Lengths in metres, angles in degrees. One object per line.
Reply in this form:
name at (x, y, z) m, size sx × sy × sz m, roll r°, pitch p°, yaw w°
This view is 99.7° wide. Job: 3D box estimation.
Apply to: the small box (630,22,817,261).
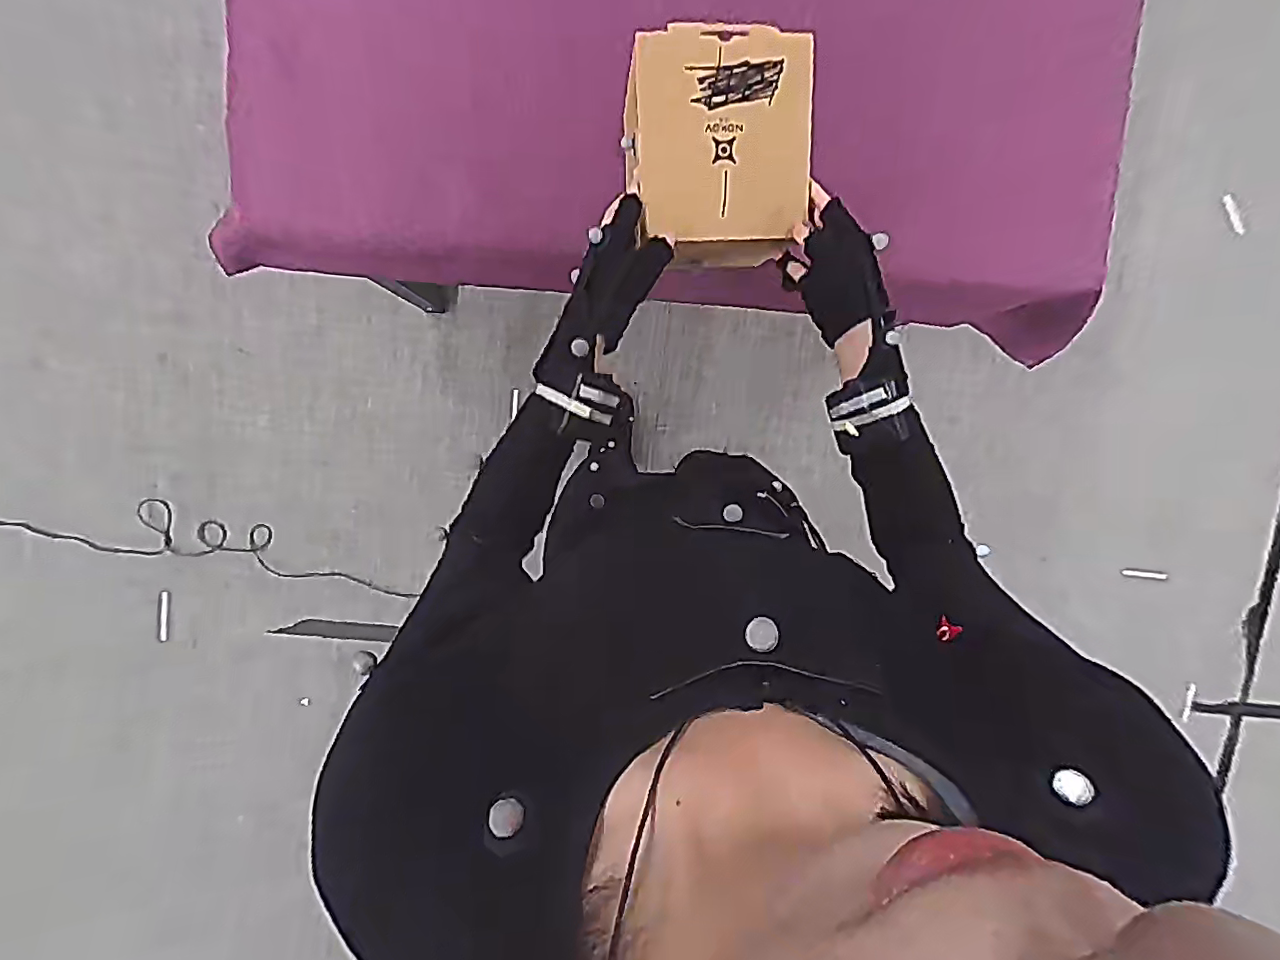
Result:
small box at (0.077, -0.343, 0.582) m, size 0.168 × 0.176 × 0.179 m, roll -3°, pitch 104°, yaw -3°
